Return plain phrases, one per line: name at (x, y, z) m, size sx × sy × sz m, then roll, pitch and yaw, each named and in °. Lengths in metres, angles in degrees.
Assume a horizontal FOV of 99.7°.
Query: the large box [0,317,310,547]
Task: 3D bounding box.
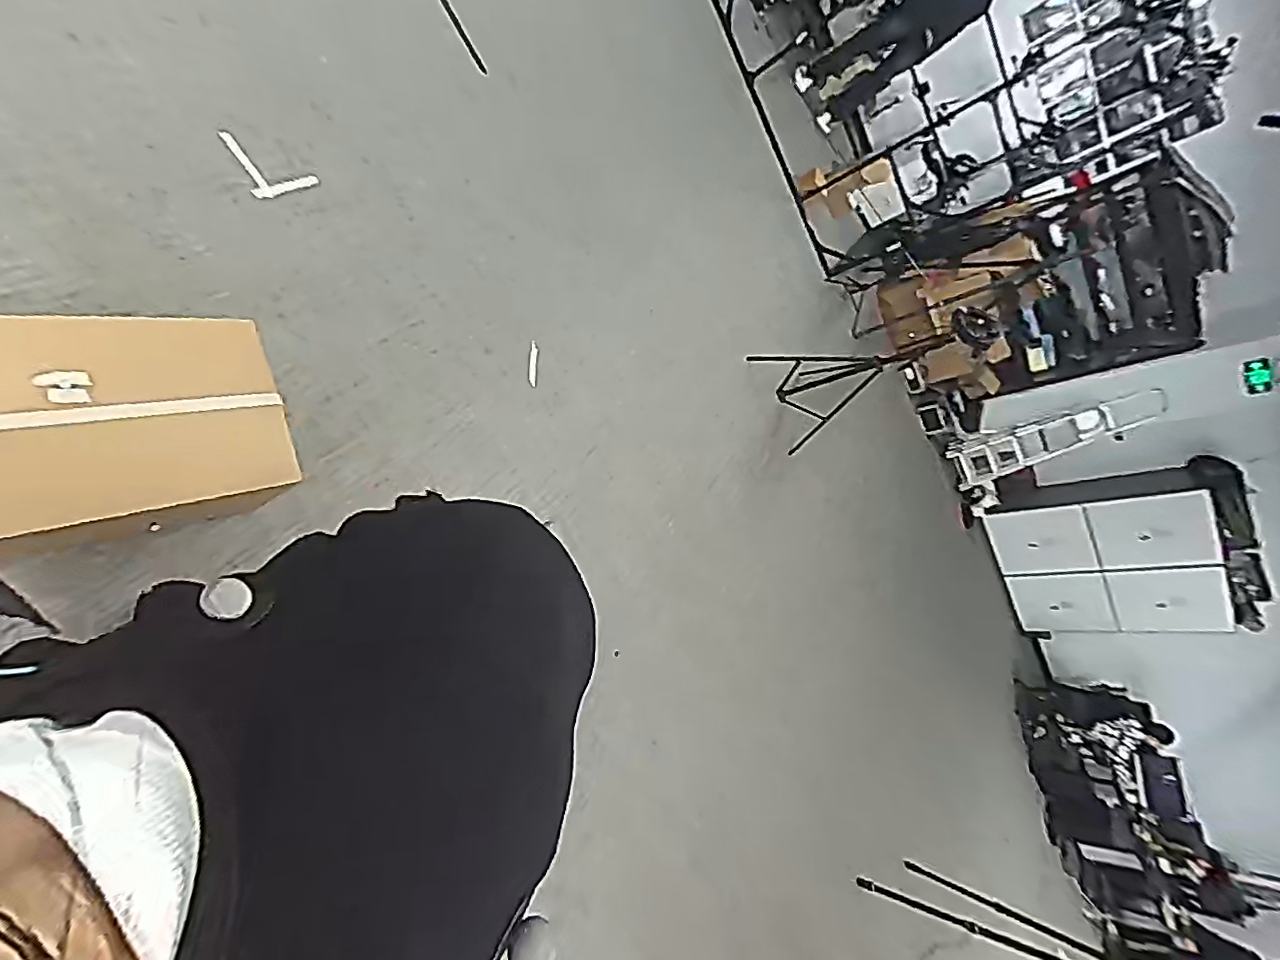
large box at (-0.901, -0.091, 0.985) m, size 0.408 × 0.320 × 0.320 m, roll -17°, pitch 92°, yaw -46°
